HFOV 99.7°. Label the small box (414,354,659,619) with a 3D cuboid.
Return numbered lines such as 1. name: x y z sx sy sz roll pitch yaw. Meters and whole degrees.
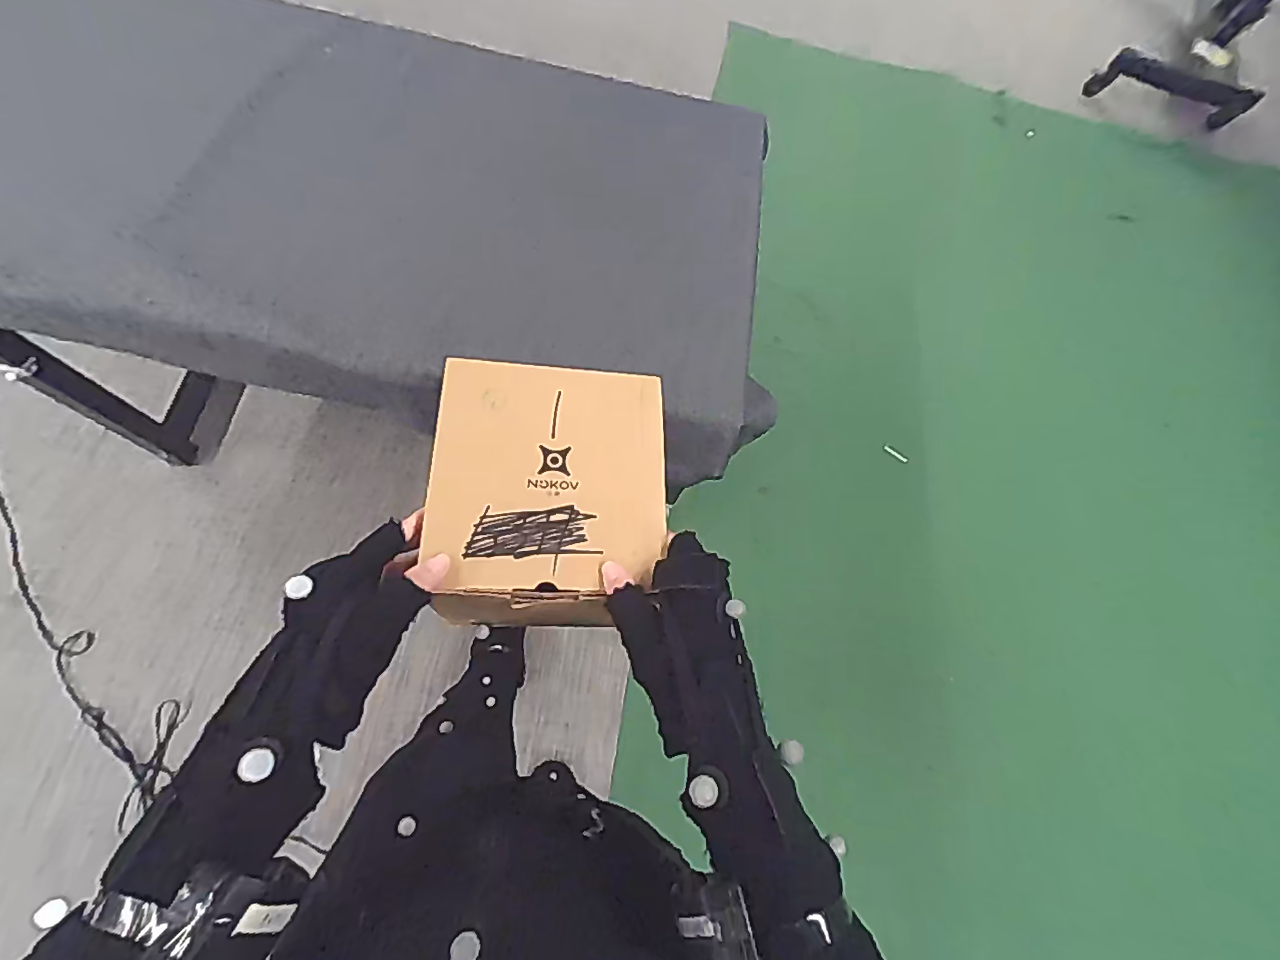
1. small box: -0.079 0.019 0.463 0.168 0.176 0.179 4 66 -10
